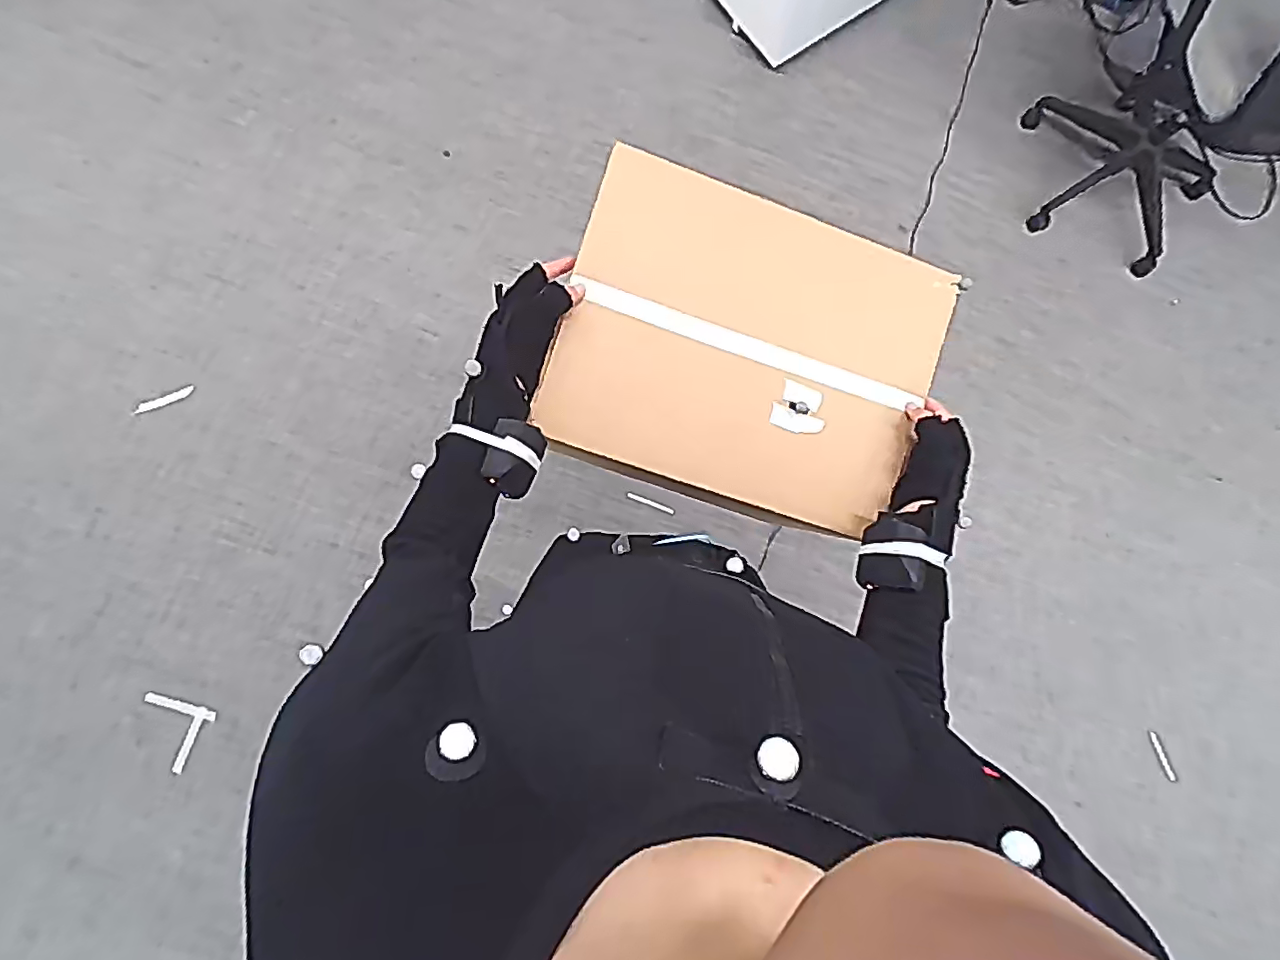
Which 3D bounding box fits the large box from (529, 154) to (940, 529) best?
[{"bbox_3d":[0.093,-0.147,0.737,0.408,0.320,0.320,18,89,-7],"label":"large box"}]
